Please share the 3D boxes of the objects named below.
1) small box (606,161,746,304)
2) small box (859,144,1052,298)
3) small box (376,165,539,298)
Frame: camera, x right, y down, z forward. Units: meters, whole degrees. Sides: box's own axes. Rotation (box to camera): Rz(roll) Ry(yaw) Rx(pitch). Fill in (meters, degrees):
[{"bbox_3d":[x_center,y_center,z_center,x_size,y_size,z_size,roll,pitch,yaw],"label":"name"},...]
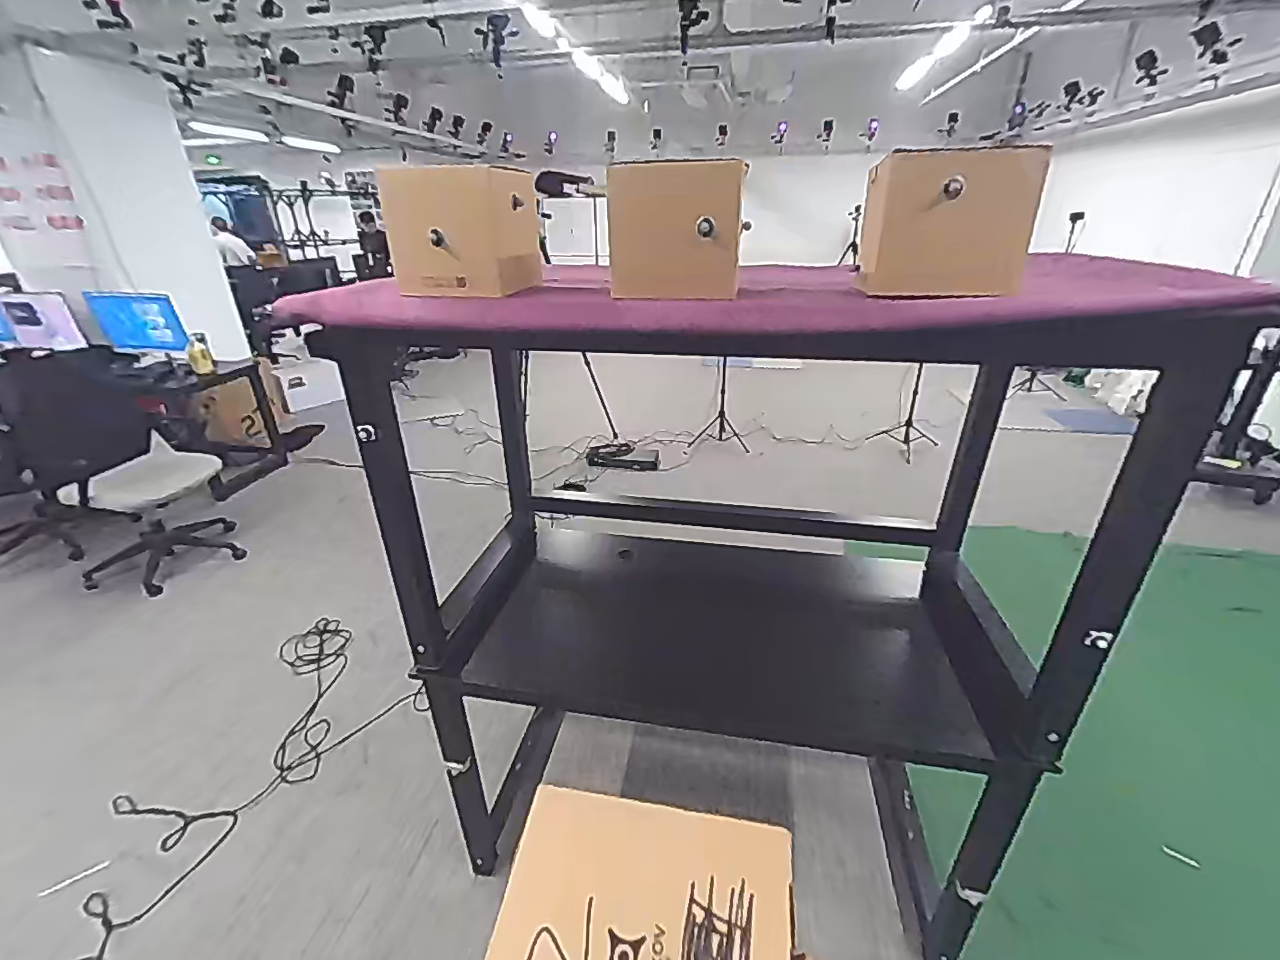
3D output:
[{"bbox_3d":[0.057,-0.351,0.774,0.179,0.176,0.168,3,26,9],"label":"small box"},{"bbox_3d":[0.404,-0.339,0.732,0.179,0.176,0.168,5,24,11],"label":"small box"},{"bbox_3d":[-0.260,-0.375,0.821,0.168,0.176,0.179,5,27,9],"label":"small box"}]
